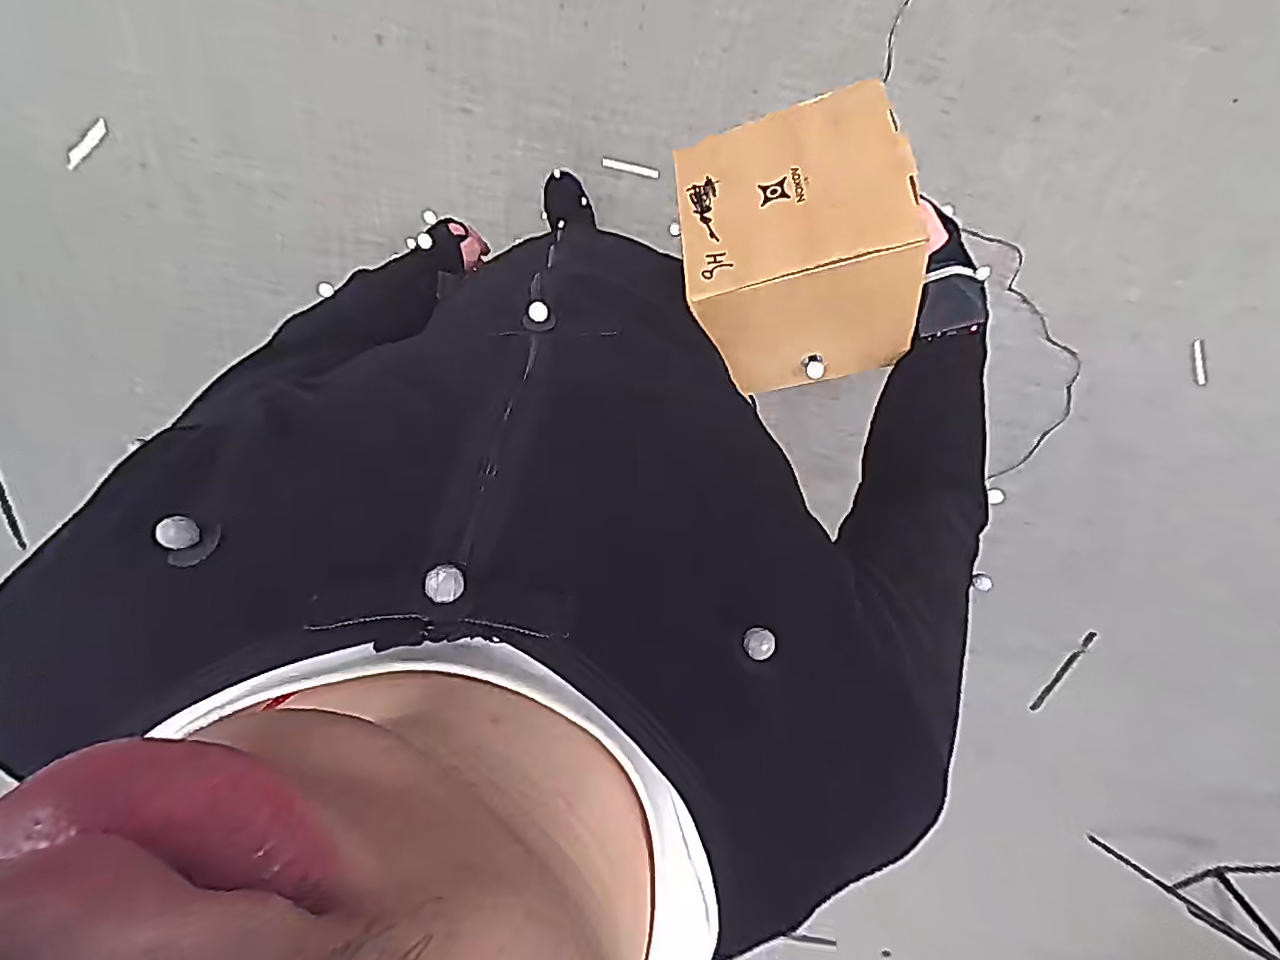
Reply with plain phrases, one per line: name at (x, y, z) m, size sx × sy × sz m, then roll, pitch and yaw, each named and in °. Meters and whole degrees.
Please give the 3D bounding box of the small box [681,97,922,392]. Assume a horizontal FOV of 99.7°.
small box at (0.147, -0.205, 0.517) m, size 0.179 × 0.168 × 0.176 m, roll -9°, pitch 158°, yaw 17°
